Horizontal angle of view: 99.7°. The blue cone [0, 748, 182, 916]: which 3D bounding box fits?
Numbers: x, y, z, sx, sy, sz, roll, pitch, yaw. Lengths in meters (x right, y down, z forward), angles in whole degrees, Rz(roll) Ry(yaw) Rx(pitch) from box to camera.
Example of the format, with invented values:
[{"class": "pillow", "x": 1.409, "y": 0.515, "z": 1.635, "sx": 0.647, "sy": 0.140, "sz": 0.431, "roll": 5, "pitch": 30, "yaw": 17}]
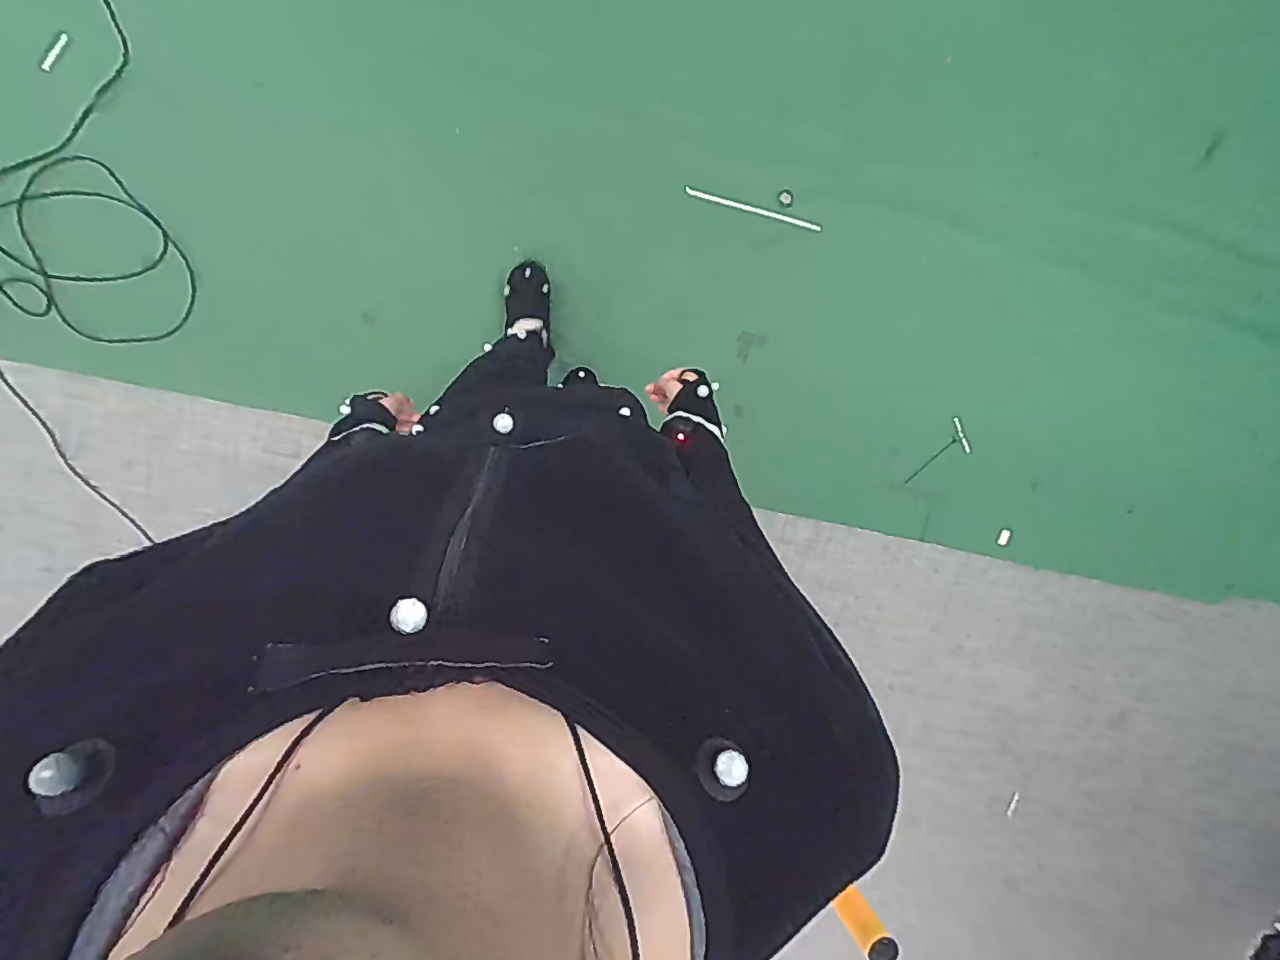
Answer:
[{"class": "blue cone", "x": -1.400, "y": 0.902, "z": 1.366, "sx": 0.193, "sy": 0.380, "sz": 0.192, "roll": -31, "pitch": 106, "yaw": 3}]
